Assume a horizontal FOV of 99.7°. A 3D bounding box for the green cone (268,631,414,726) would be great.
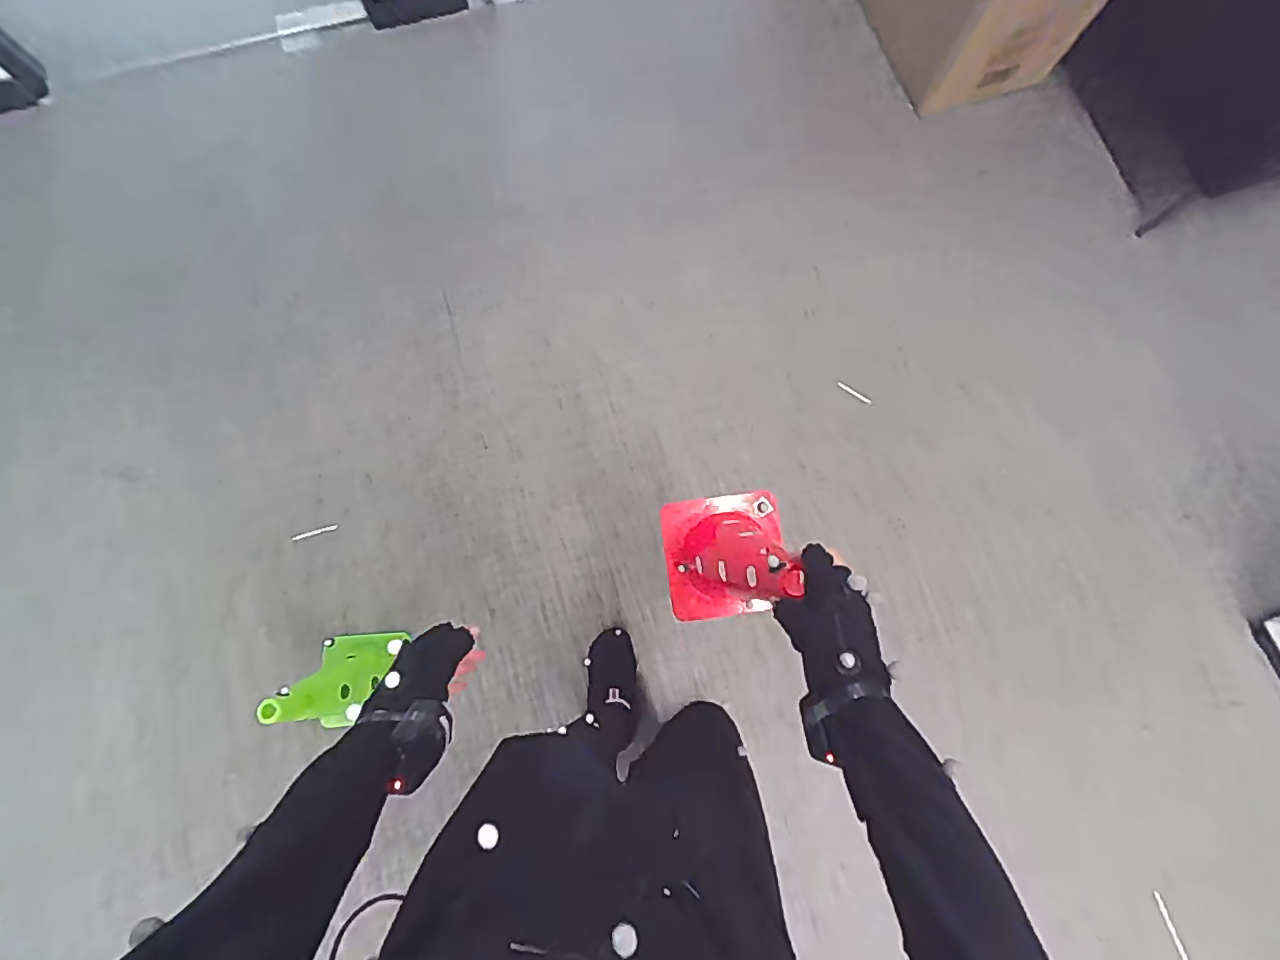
[{"bbox_3d":[-0.624,0.427,1.093,0.202,0.368,0.200,-4,78,-3],"label":"green cone"}]
